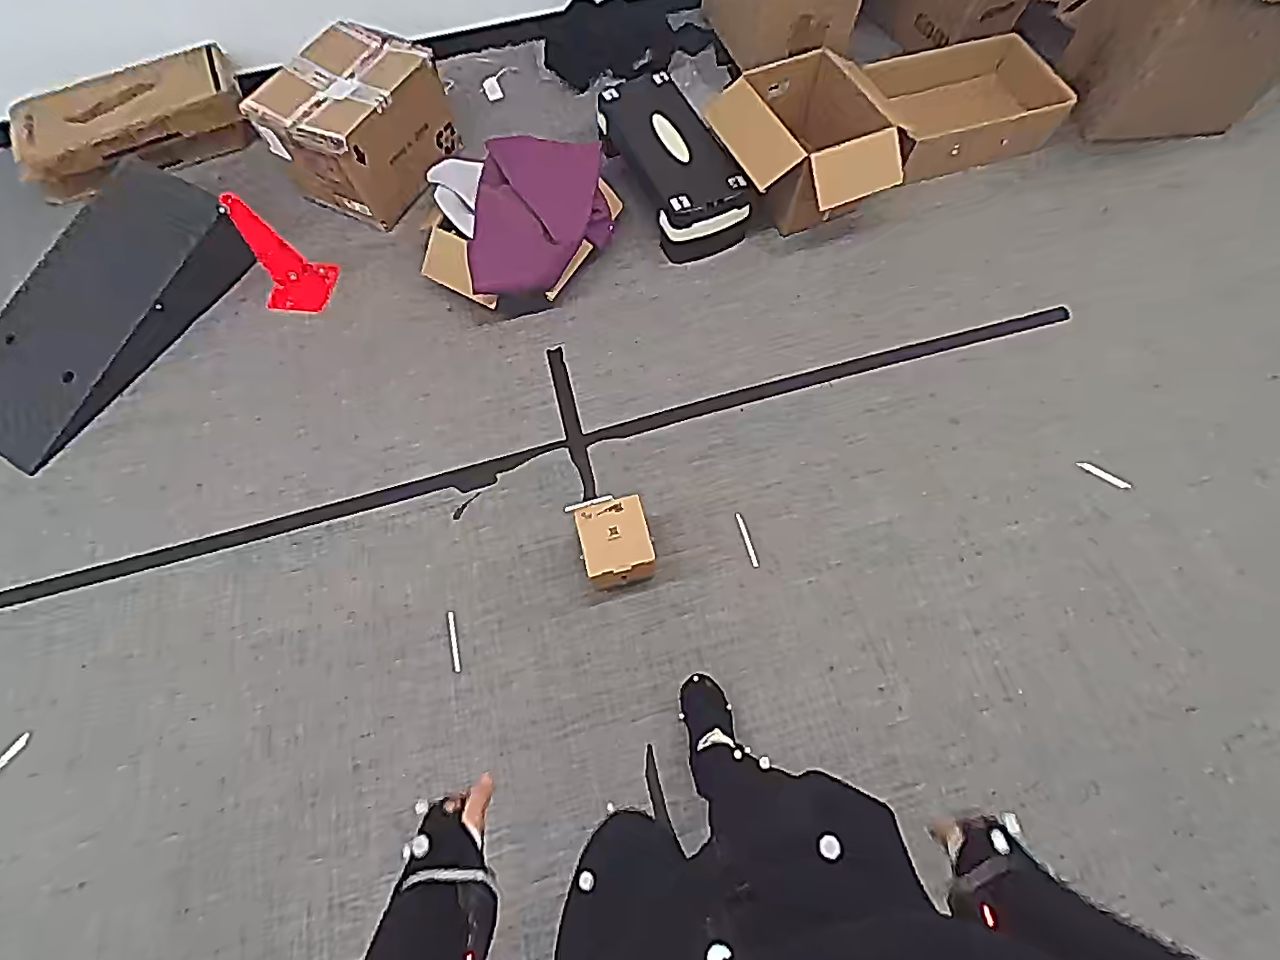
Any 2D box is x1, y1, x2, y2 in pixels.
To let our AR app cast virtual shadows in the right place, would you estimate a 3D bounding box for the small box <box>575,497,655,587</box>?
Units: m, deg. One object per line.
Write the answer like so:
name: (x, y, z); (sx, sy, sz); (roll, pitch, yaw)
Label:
small box: (-0.058, 0.165, 1.369); (0.168, 0.176, 0.179); (-13, 69, -4)
